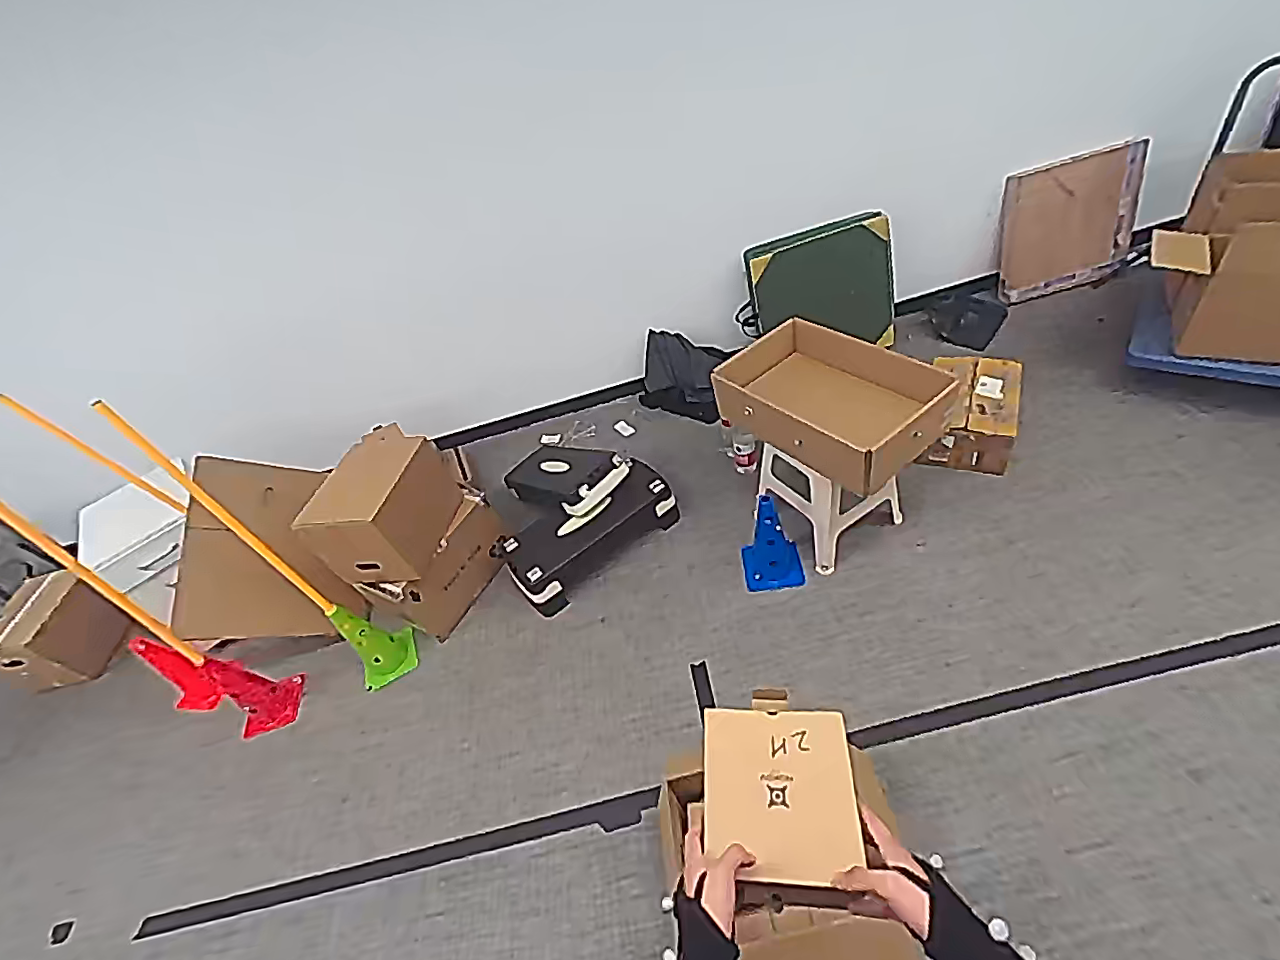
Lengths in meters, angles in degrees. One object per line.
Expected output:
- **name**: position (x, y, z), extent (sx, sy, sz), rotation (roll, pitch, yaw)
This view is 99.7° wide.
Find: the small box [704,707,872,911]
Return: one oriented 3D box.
- **small box**: position (0.167, 0.395, 0.650), extent (0.168, 0.176, 0.179), rotation (-1, 46, 9)
